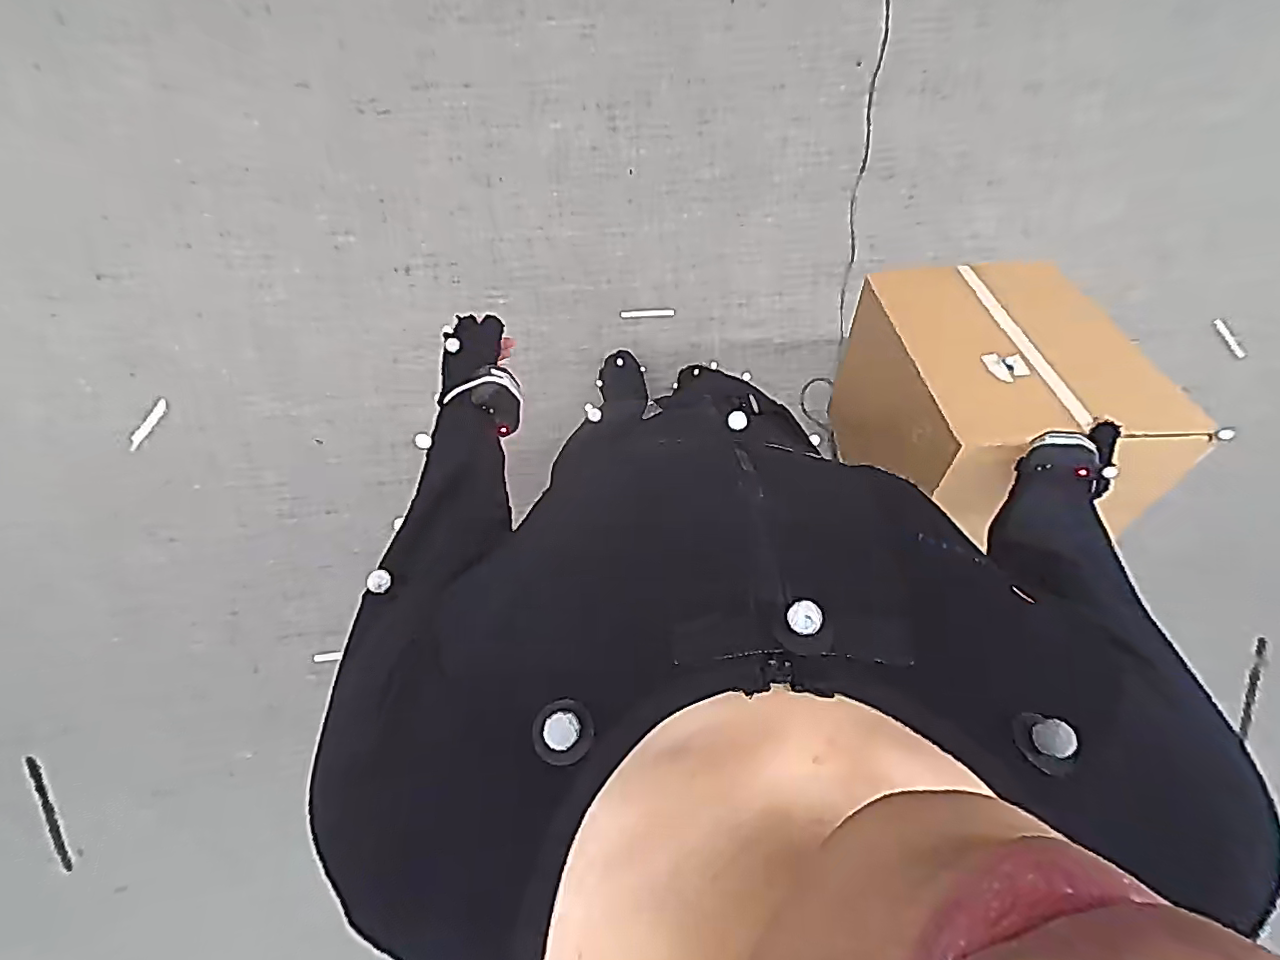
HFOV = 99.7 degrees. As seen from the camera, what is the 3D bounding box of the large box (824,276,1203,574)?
[{"bbox_3d":[0.542,-0.095,0.907,0.320,0.408,0.320,-3,141,1],"label":"large box"}]
